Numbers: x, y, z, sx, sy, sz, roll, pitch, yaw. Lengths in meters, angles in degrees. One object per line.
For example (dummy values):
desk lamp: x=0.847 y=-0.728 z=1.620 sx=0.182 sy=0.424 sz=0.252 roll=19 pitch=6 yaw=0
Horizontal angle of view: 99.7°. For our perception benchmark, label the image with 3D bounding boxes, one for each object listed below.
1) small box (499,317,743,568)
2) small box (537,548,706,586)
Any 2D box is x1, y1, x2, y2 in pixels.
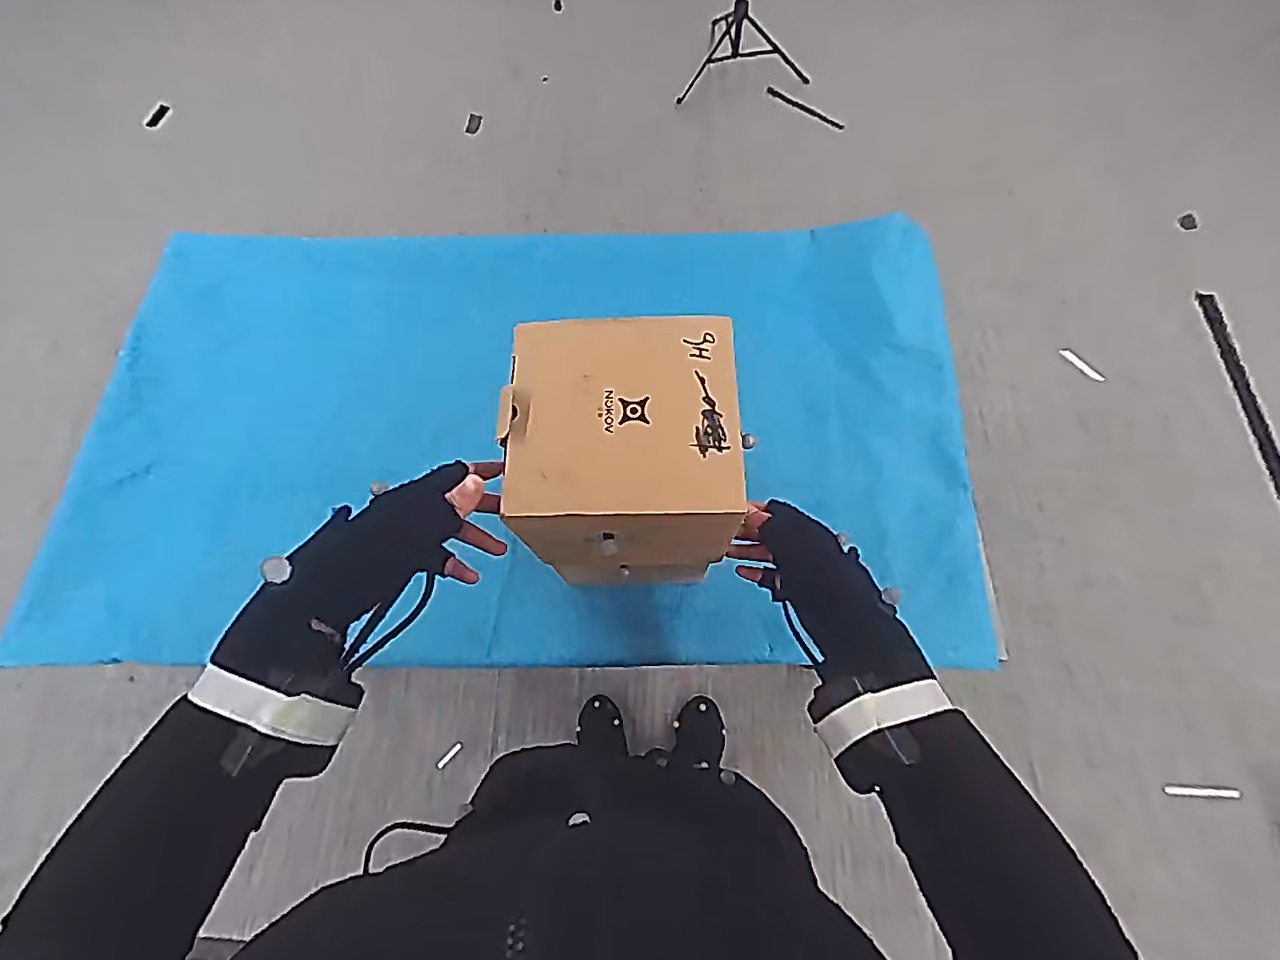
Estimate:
small box: x=-0.013 y=-0.021 z=0.481 sx=0.179 sy=0.176 sz=0.168 roll=-4 pitch=69 yaw=1
small box: x=-0.010 y=0.030 z=0.636 sx=0.179 sy=0.176 sz=0.168 roll=-1 pitch=70 yaw=3
